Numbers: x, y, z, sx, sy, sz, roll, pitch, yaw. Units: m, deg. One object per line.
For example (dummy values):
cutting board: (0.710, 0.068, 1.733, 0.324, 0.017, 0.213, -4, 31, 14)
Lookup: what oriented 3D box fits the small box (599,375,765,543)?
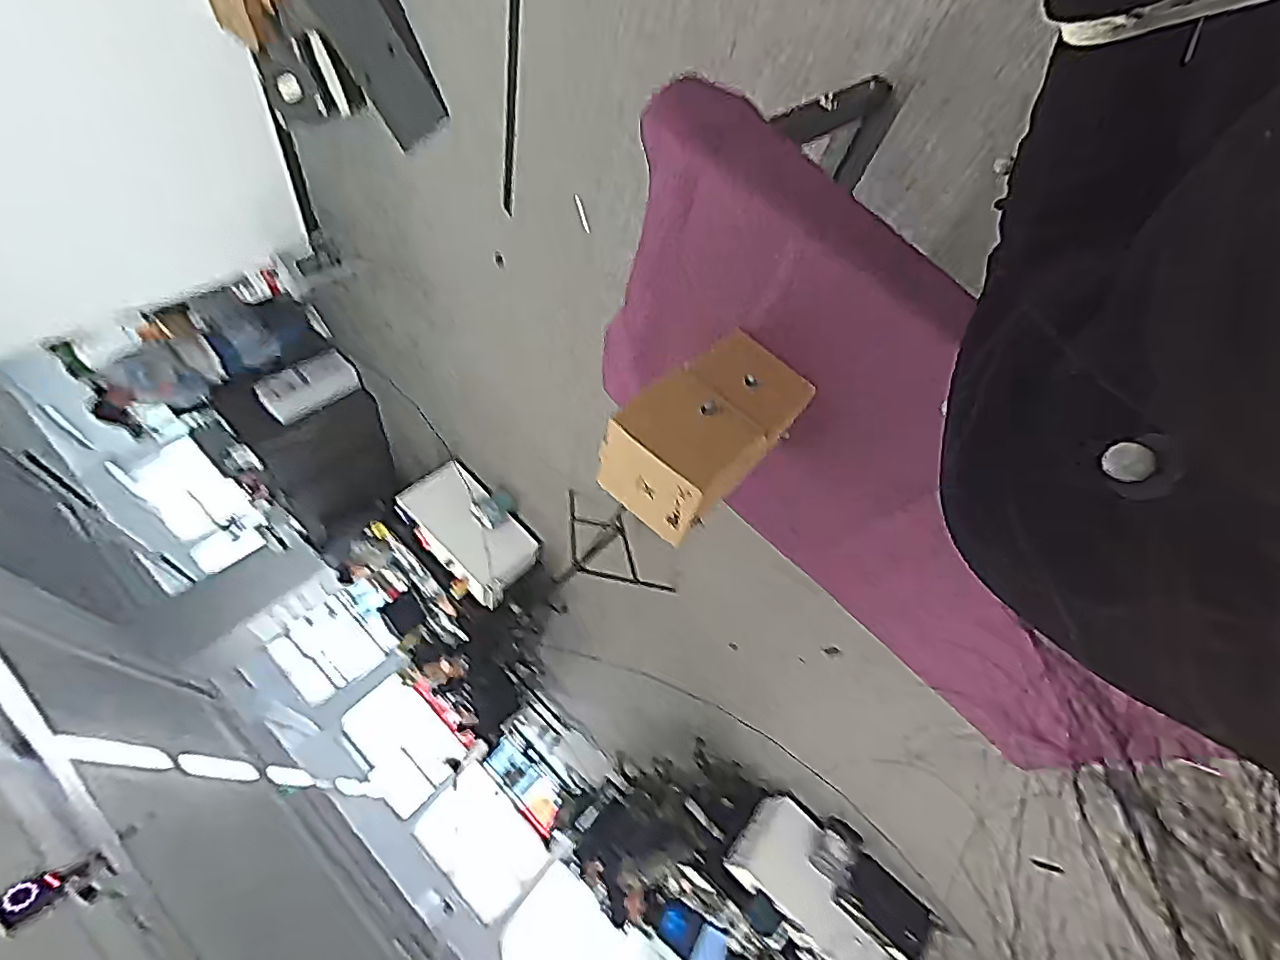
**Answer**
small box: (0.062, -0.041, 0.852, 0.179, 0.176, 0.168, 40, 148, 15)
